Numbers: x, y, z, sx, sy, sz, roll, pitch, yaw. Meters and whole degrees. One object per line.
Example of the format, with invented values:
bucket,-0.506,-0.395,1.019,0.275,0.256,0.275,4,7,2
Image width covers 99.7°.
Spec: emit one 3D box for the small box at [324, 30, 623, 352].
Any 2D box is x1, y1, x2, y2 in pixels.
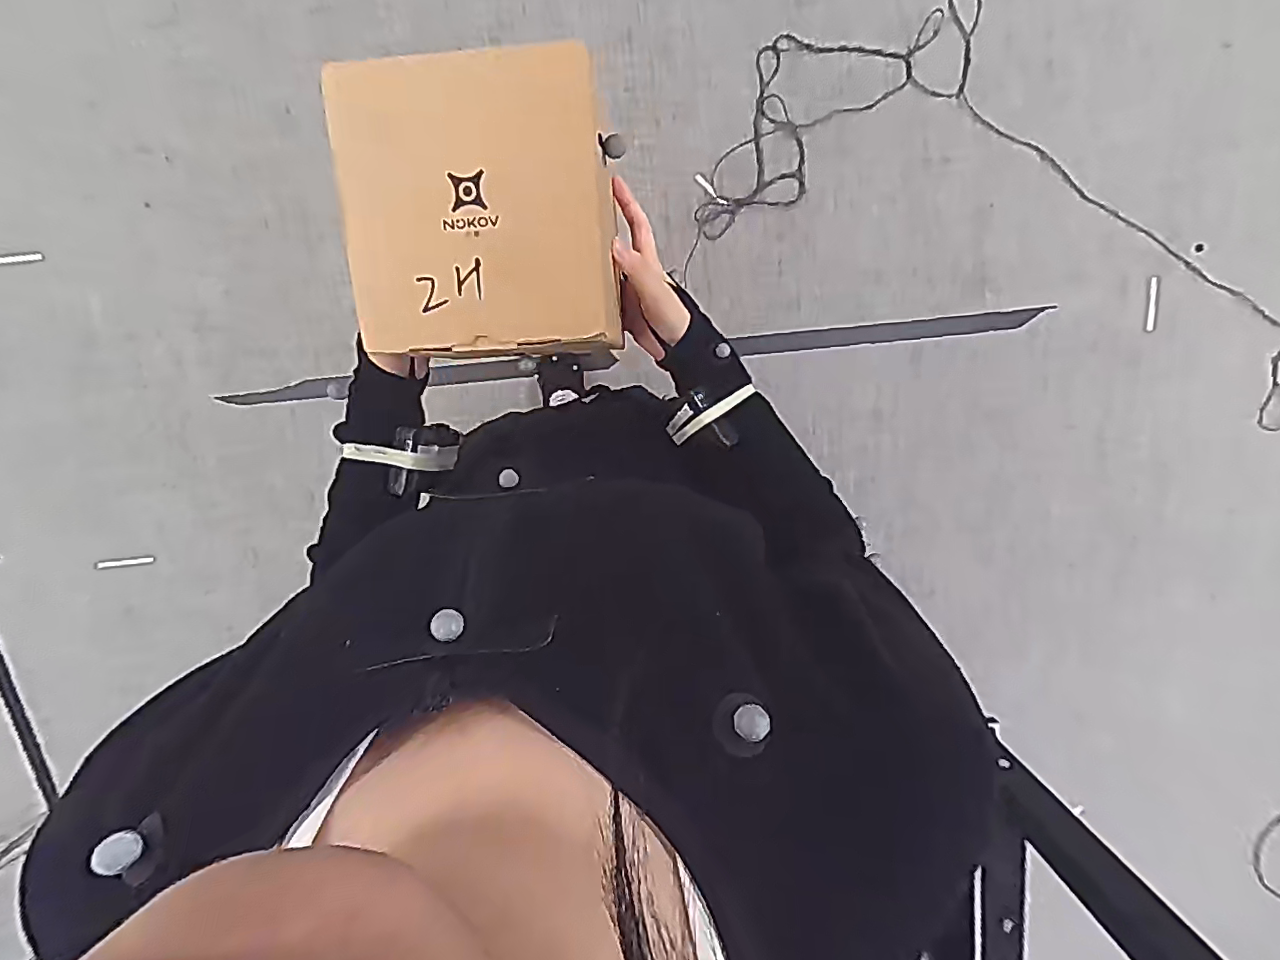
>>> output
small box,-0.104,-0.196,0.420,0.168,0.176,0.179,-3,102,4
